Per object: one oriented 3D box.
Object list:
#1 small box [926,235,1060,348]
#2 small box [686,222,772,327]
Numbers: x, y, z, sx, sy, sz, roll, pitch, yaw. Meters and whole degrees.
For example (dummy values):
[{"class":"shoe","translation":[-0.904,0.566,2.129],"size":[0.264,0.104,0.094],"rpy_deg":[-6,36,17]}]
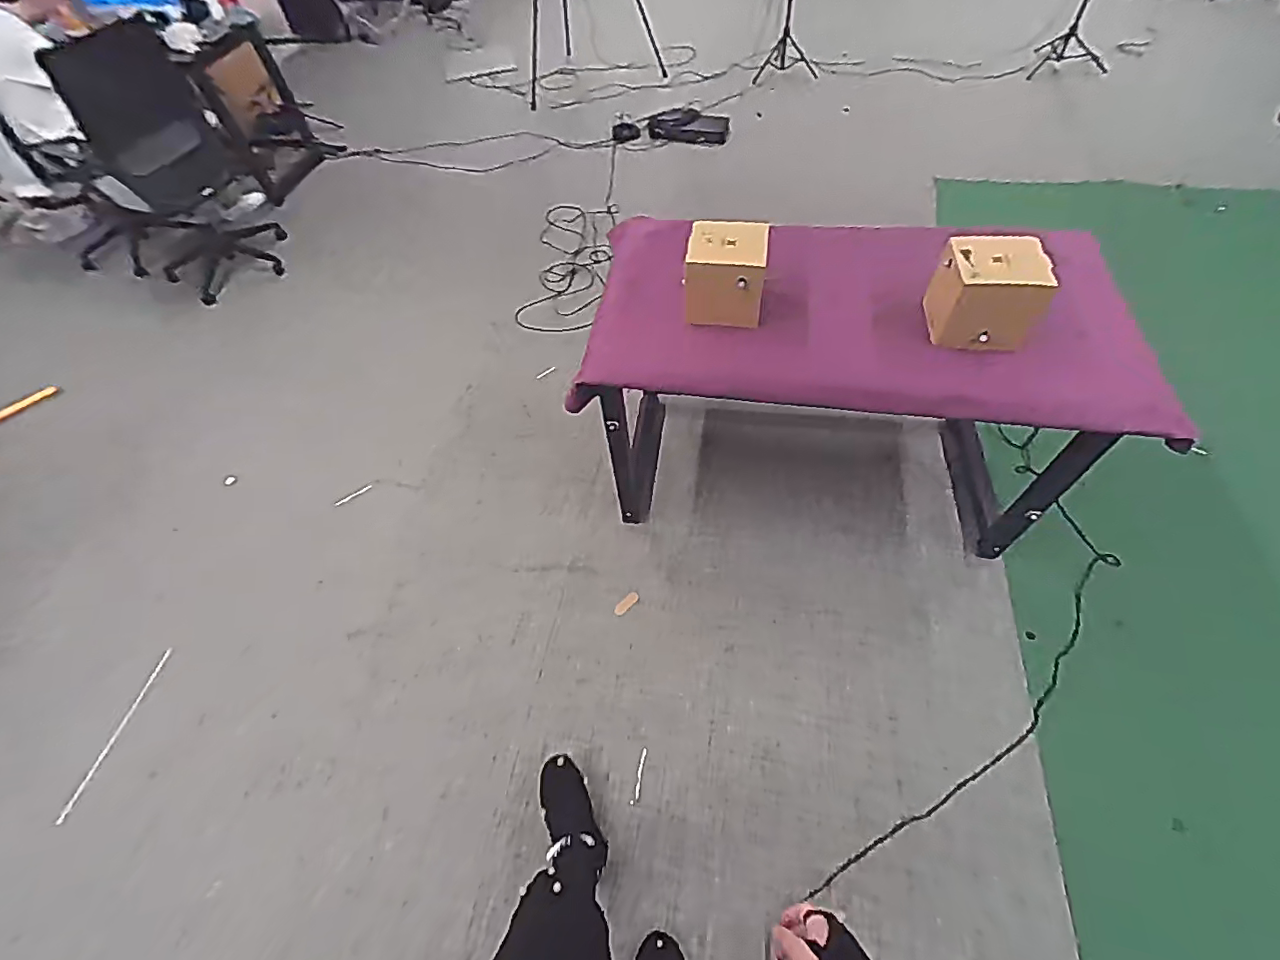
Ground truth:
[{"class":"small box","translation":[0.745,-0.401,1.162],"size":[0.179,0.176,0.168],"rpy_deg":[5,56,9]},{"class":"small box","translation":[0.206,-0.478,1.269],"size":[0.179,0.176,0.168],"rpy_deg":[6,56,10]}]
